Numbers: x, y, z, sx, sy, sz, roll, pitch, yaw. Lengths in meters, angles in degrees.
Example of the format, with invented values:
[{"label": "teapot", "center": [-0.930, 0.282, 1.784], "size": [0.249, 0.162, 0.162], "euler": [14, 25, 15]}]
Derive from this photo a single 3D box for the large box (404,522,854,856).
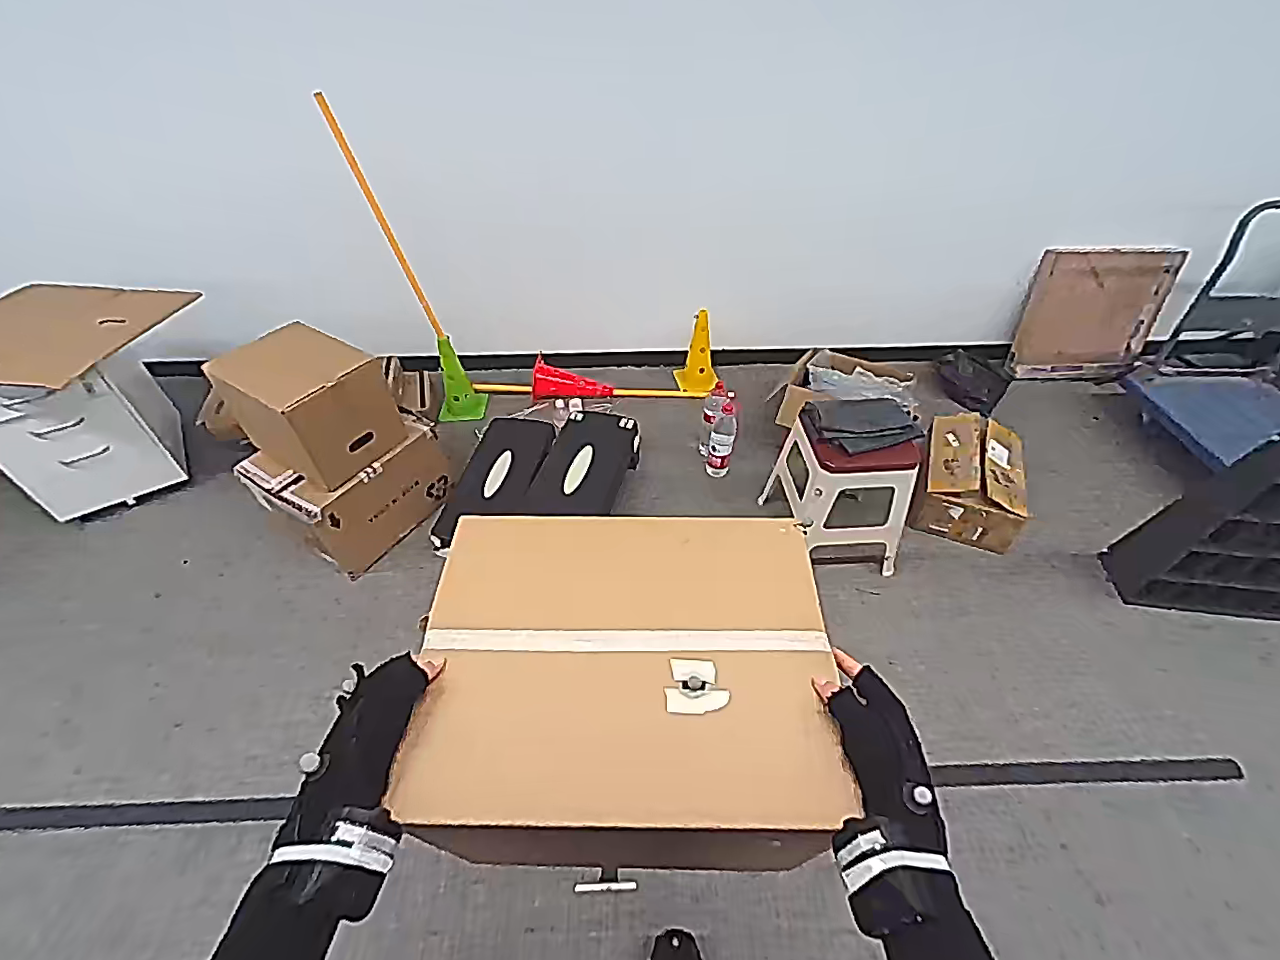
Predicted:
[{"label": "large box", "center": [-0.011, 0.265, 0.677], "size": [0.408, 0.320, 0.320], "euler": [1, 50, 0]}]
